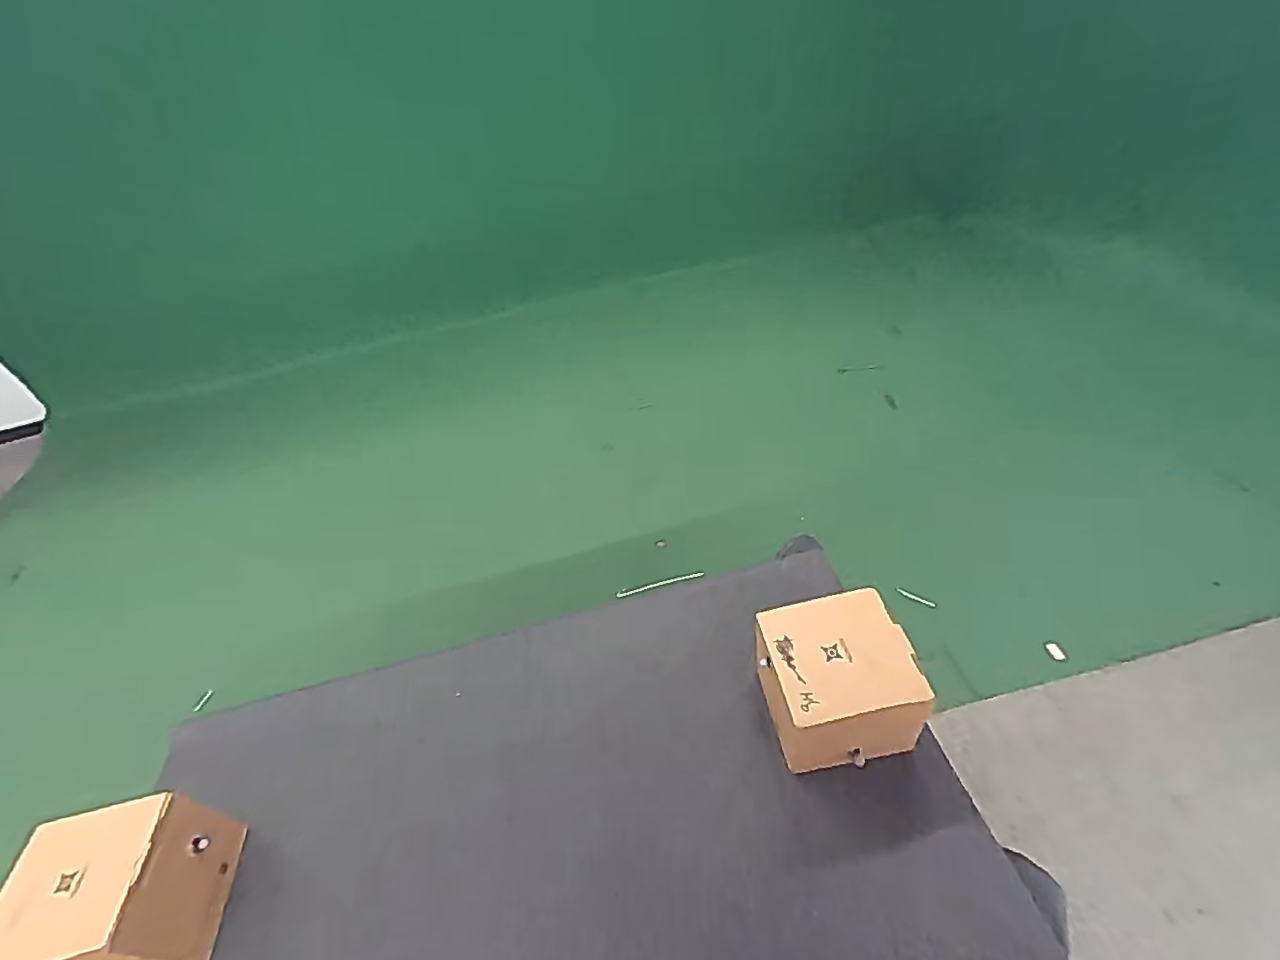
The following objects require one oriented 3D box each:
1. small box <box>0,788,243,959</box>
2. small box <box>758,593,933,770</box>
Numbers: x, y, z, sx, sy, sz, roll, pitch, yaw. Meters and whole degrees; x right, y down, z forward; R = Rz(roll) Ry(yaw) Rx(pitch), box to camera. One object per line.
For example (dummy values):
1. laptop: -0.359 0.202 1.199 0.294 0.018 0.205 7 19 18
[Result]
1. small box: -0.673 0.532 0.701 0.179 0.176 0.168 -12 41 -1
2. small box: 0.274 0.288 0.769 0.179 0.176 0.168 -12 44 0
